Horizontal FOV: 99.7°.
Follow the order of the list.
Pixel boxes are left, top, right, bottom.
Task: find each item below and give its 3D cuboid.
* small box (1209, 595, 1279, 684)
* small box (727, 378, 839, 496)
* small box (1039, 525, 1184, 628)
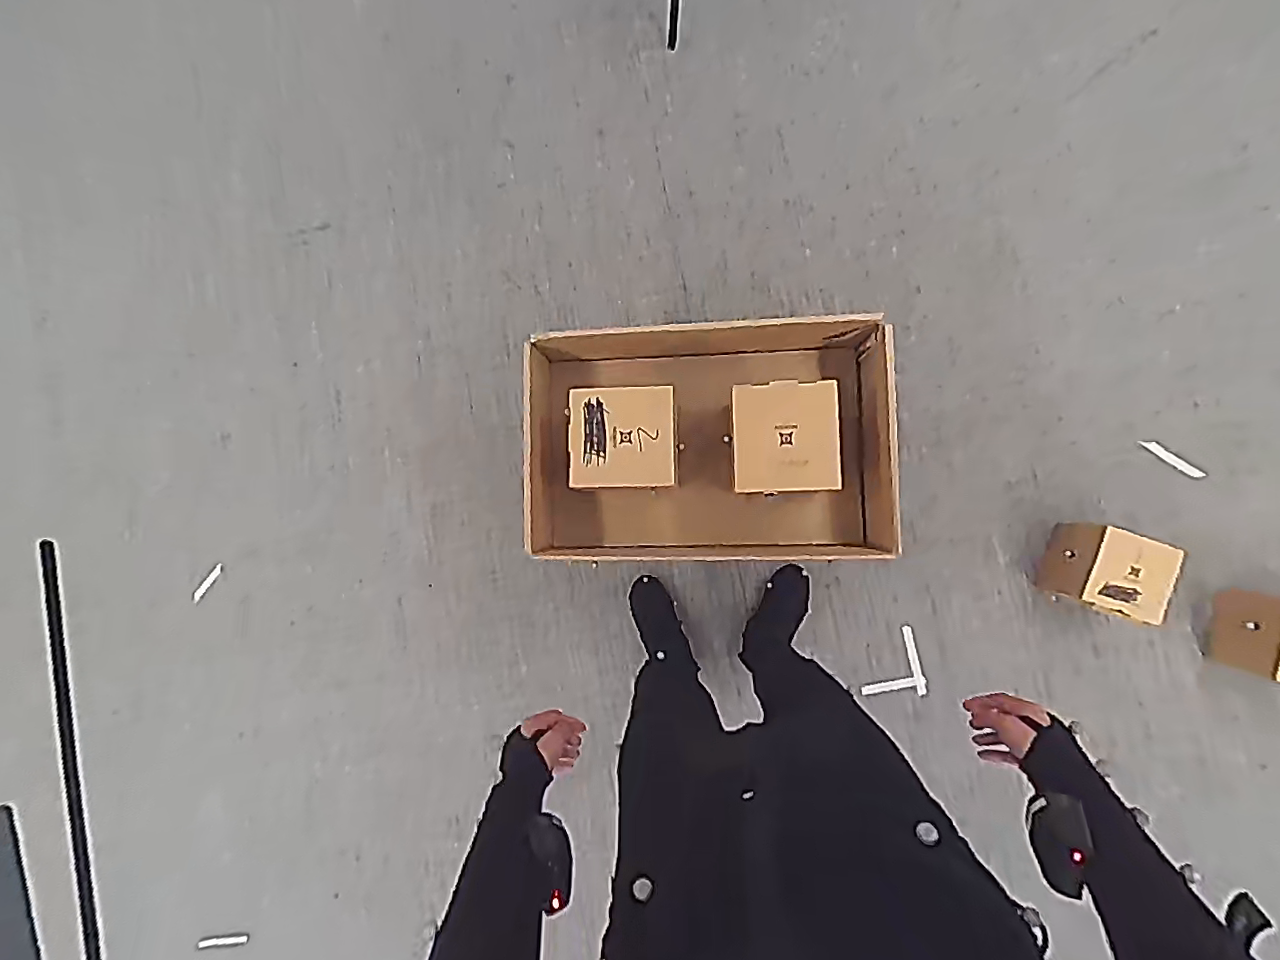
[{"bbox_3d":[1.432,0.364,1.196,0.168,0.176,0.179,14,88,7],"label":"small box"},{"bbox_3d":[0.238,-0.066,0.933,0.168,0.176,0.179,-2,85,8],"label":"small box"},{"bbox_3d":[1.069,0.213,1.245,0.168,0.176,0.179,21,89,7],"label":"small box"}]
